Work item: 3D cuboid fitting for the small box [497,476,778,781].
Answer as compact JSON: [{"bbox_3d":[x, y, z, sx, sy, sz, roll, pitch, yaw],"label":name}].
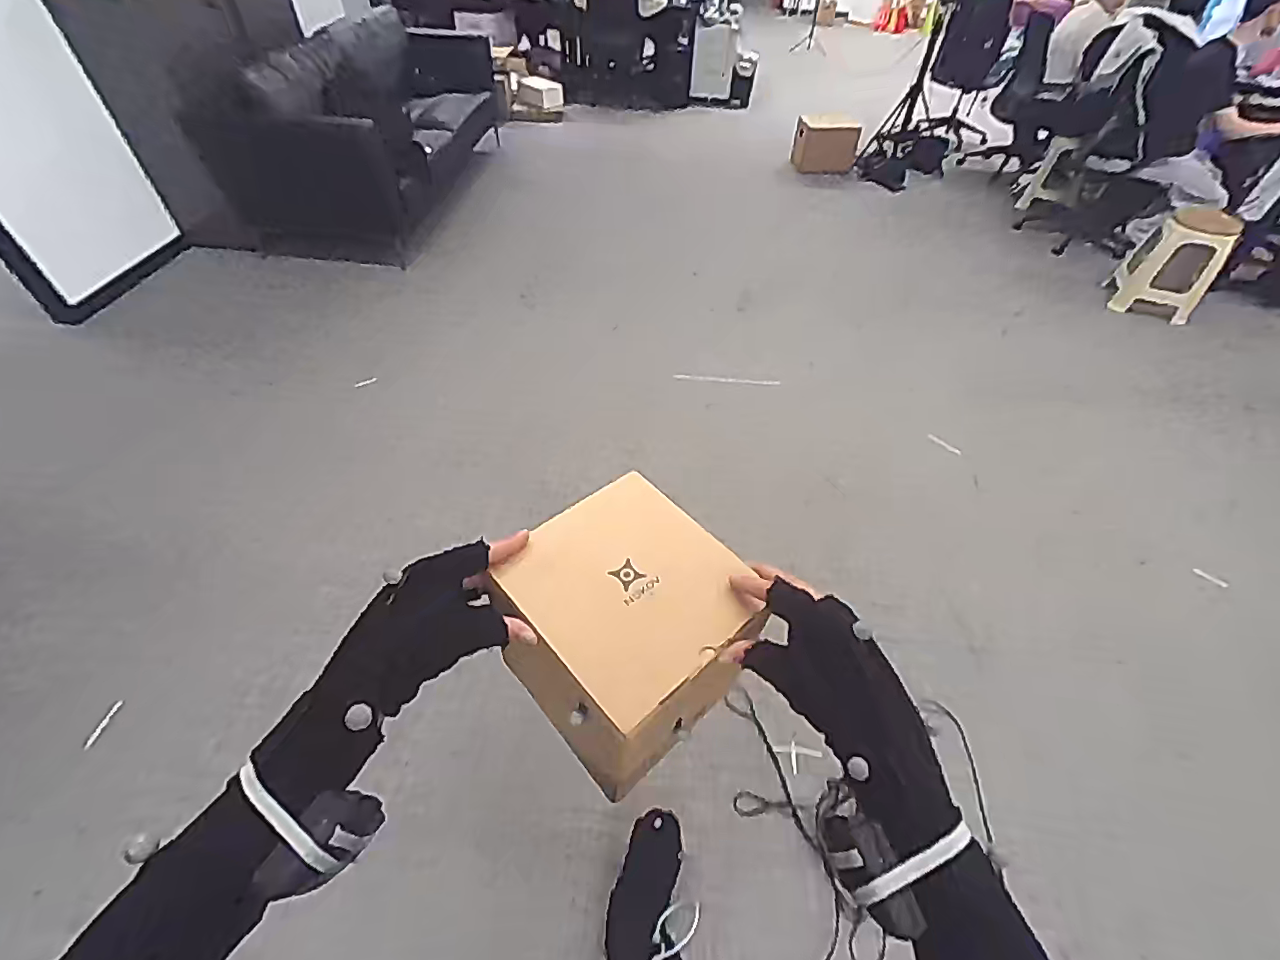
[{"bbox_3d":[-0.011,0.135,0.497,0.168,0.176,0.179,-31,58,-31],"label":"small box"}]
